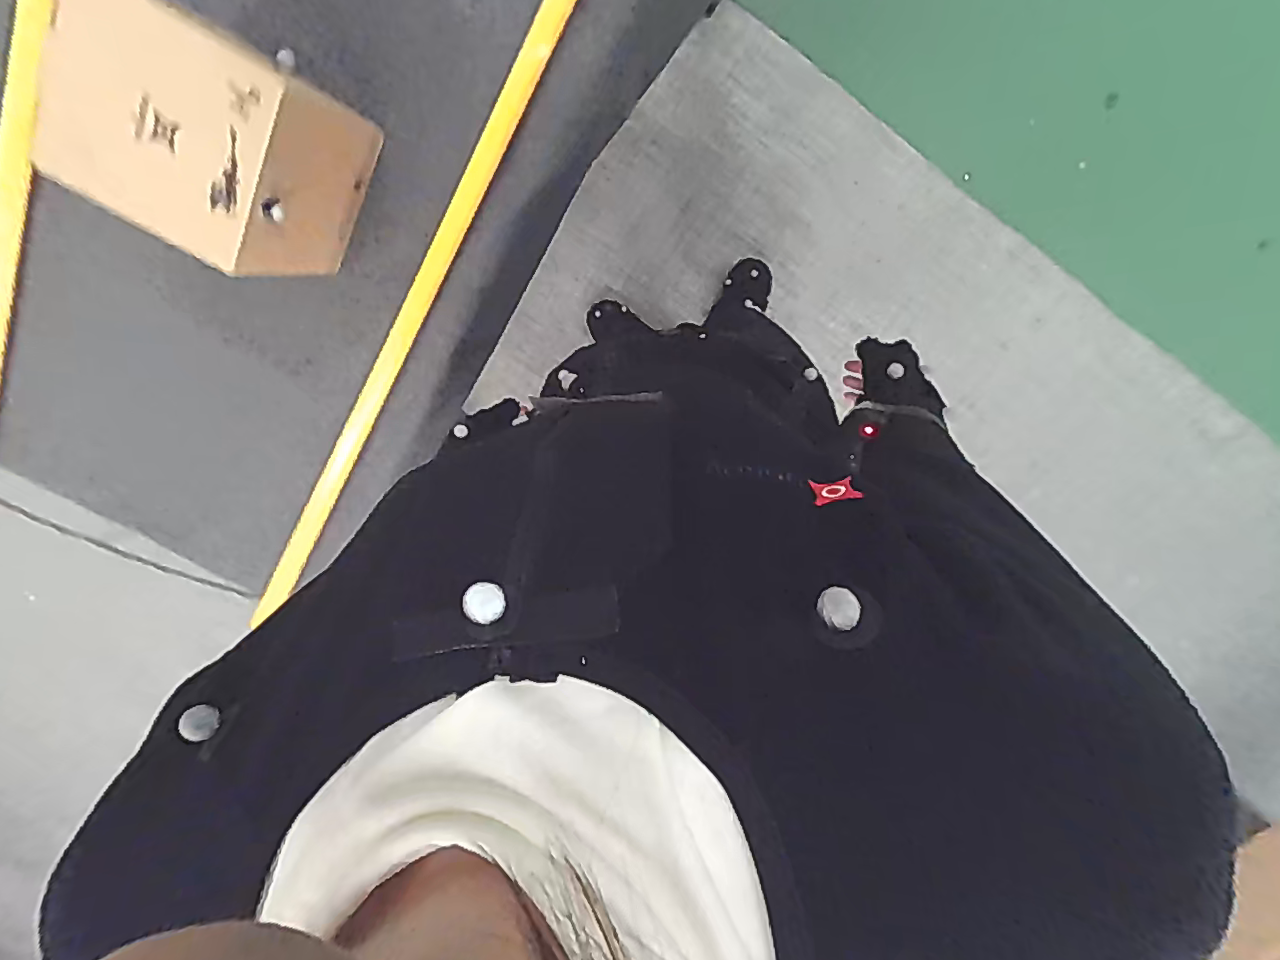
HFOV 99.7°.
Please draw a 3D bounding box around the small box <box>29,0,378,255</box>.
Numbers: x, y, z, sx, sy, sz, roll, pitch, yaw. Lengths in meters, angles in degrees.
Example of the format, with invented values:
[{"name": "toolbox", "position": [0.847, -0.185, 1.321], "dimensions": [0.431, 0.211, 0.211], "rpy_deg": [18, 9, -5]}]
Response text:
[{"name": "small box", "position": [-0.391, -0.329, 0.511], "dimensions": [0.179, 0.176, 0.168], "rpy_deg": [30, 110, -8]}]
